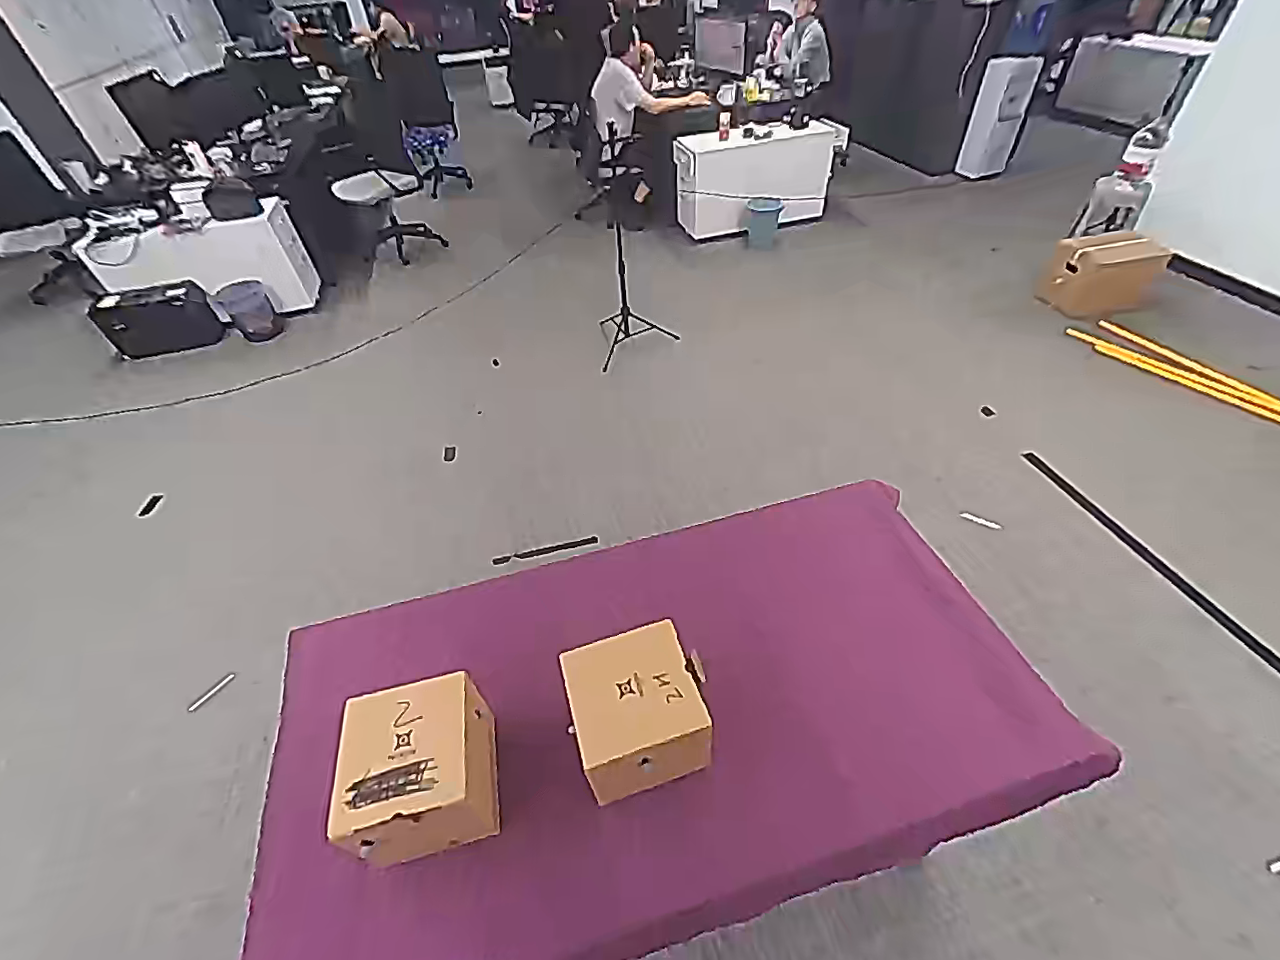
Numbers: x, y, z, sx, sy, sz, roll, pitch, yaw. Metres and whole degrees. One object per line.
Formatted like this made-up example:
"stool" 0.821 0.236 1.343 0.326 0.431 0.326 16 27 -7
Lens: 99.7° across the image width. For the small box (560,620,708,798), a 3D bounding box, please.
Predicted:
"small box" -0.007 0.344 0.807 0.179 0.176 0.168 -15 46 -10
